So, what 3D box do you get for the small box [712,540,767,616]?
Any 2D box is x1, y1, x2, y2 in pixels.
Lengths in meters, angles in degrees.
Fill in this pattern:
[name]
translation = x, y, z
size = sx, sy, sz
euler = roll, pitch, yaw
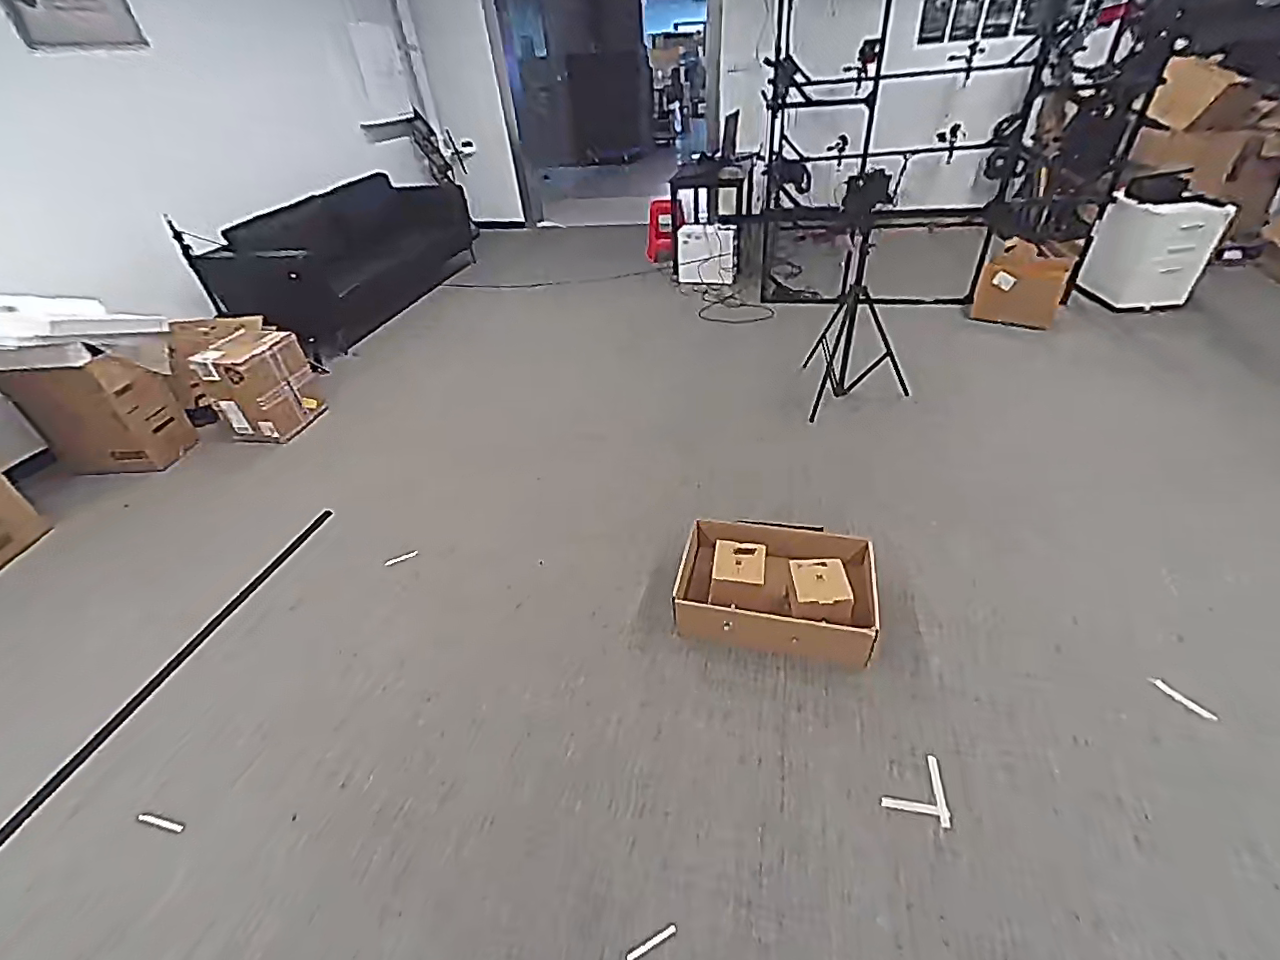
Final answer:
[small box]
translation = 0.332, 0.327, 1.814
size = 0.168, 0.176, 0.179
euler = 5, 39, 12
